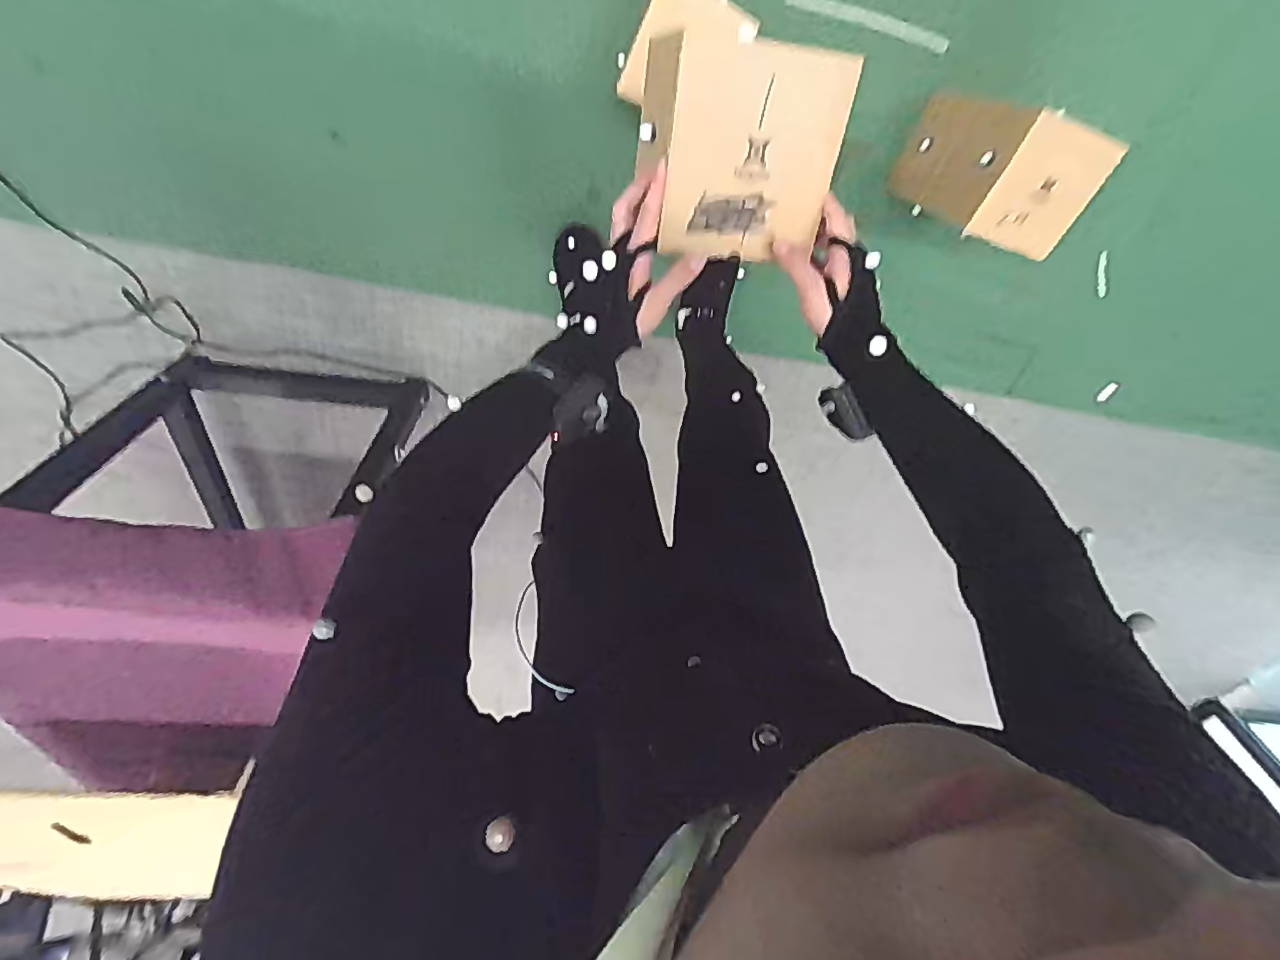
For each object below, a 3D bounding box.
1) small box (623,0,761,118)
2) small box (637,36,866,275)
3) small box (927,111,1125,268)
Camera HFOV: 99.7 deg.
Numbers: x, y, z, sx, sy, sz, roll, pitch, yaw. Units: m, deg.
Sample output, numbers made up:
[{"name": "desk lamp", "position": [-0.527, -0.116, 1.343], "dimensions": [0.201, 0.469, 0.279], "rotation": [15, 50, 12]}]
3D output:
[{"name": "small box", "position": [0.076, -0.702, 0.923], "dimensions": [0.168, 0.176, 0.179], "rotation": [20, 127, -18]}, {"name": "small box", "position": [0.094, -0.330, 0.560], "dimensions": [0.168, 0.176, 0.179], "rotation": [0, 125, -11]}, {"name": "small box", "position": [0.624, -0.490, 0.904], "dimensions": [0.168, 0.176, 0.179], "rotation": [13, 127, -13]}]
